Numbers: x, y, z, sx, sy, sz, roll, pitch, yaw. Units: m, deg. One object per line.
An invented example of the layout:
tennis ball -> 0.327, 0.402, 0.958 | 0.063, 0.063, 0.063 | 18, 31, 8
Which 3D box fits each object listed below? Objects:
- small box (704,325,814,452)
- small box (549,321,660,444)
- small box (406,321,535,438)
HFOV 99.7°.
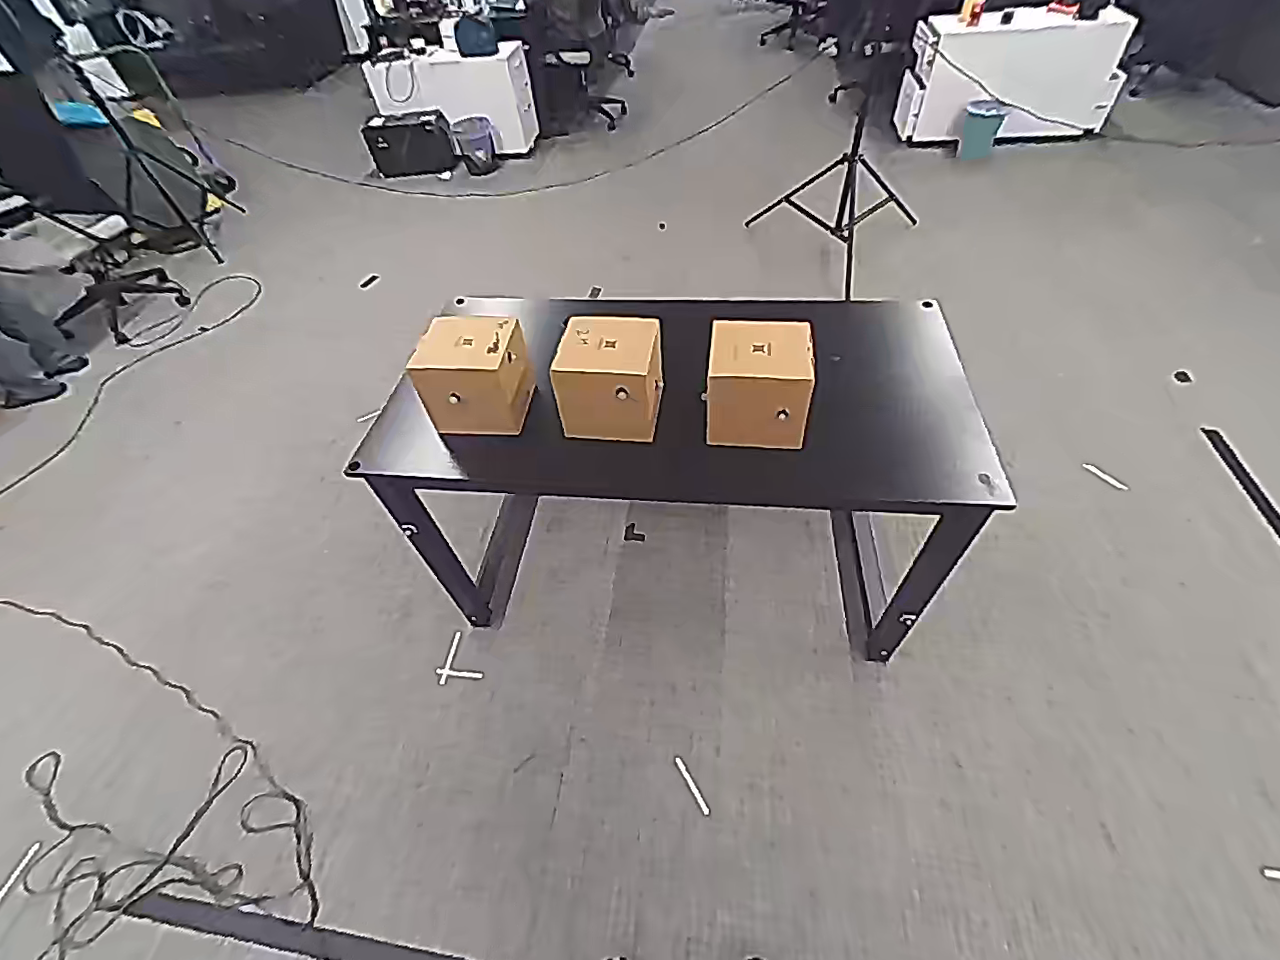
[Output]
small box -> 0.213, -0.167, 1.003 | 0.179, 0.176, 0.168 | 3, 48, 8
small box -> -0.057, -0.185, 1.044 | 0.179, 0.176, 0.168 | 4, 50, 9
small box -> -0.327, -0.198, 1.082 | 0.179, 0.176, 0.168 | 1, 50, 7
